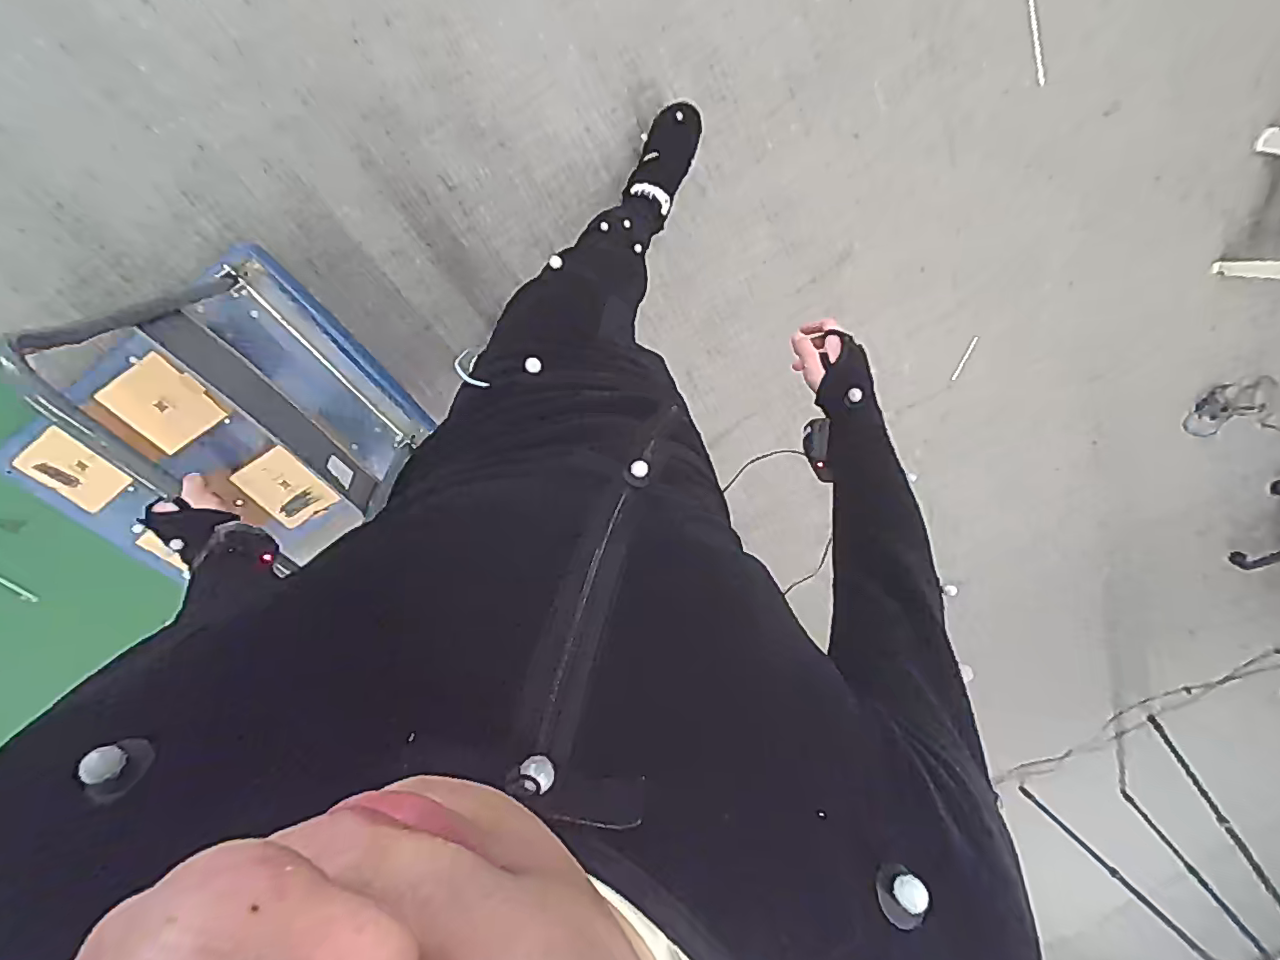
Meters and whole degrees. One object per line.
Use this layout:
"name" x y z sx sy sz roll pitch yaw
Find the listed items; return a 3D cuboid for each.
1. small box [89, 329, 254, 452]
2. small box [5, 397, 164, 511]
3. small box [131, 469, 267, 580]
"small box" -0.987 -0.196 1.160 0.179 0.176 0.168 -31 121 8
"small box" -1.198 -0.070 1.196 0.179 0.176 0.168 -34 121 9
"small box" -1.062 0.104 1.325 0.179 0.176 0.168 -35 119 11
